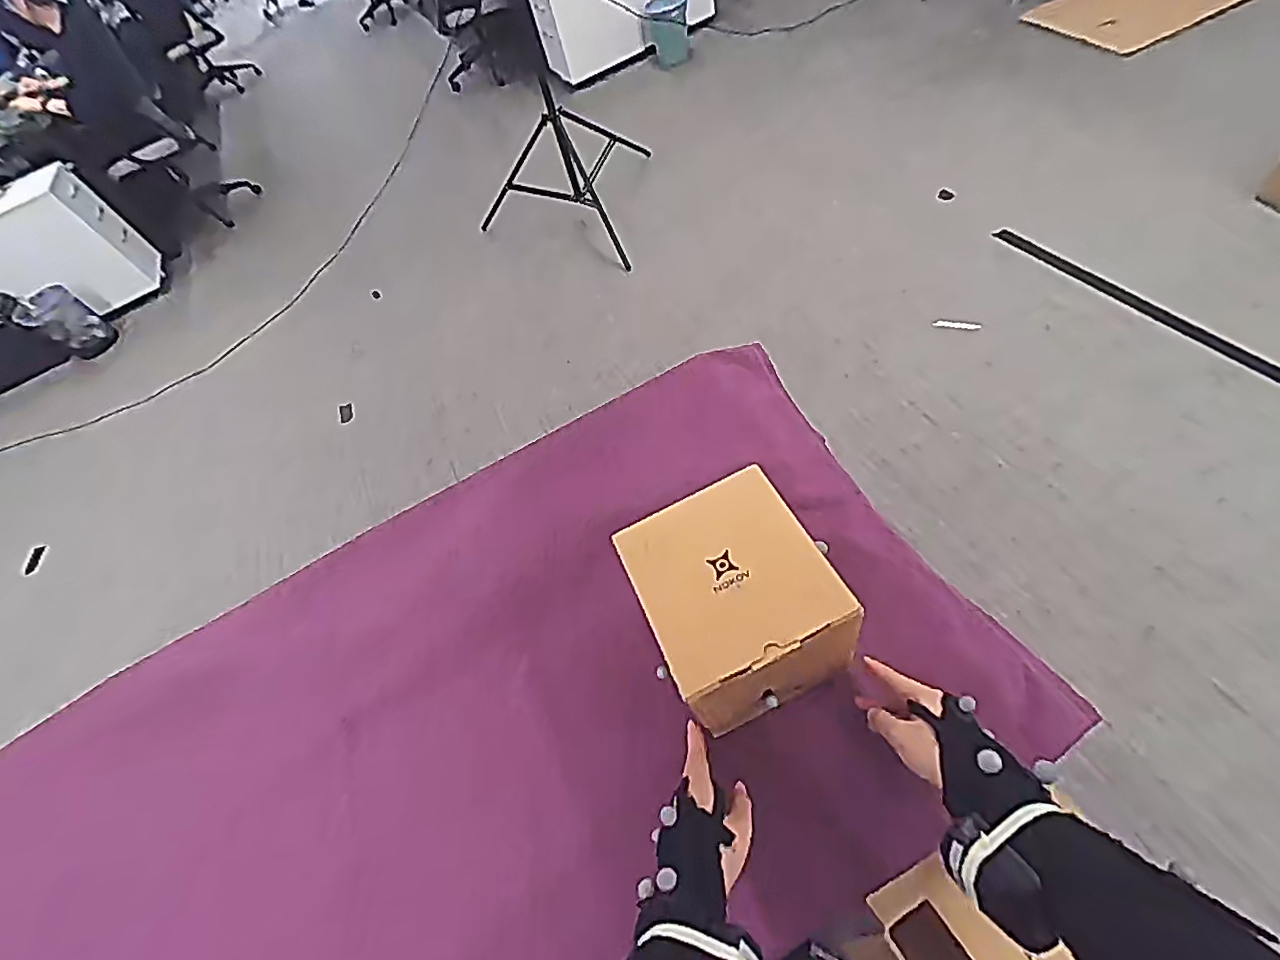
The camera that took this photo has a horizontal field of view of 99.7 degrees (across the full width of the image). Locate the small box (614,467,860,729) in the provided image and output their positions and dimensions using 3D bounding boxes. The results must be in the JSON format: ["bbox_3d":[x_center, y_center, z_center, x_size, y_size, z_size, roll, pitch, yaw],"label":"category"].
[{"bbox_3d":[0.095,0.125,0.554,0.168,0.176,0.179,-27,54,-2],"label":"small box"}]
